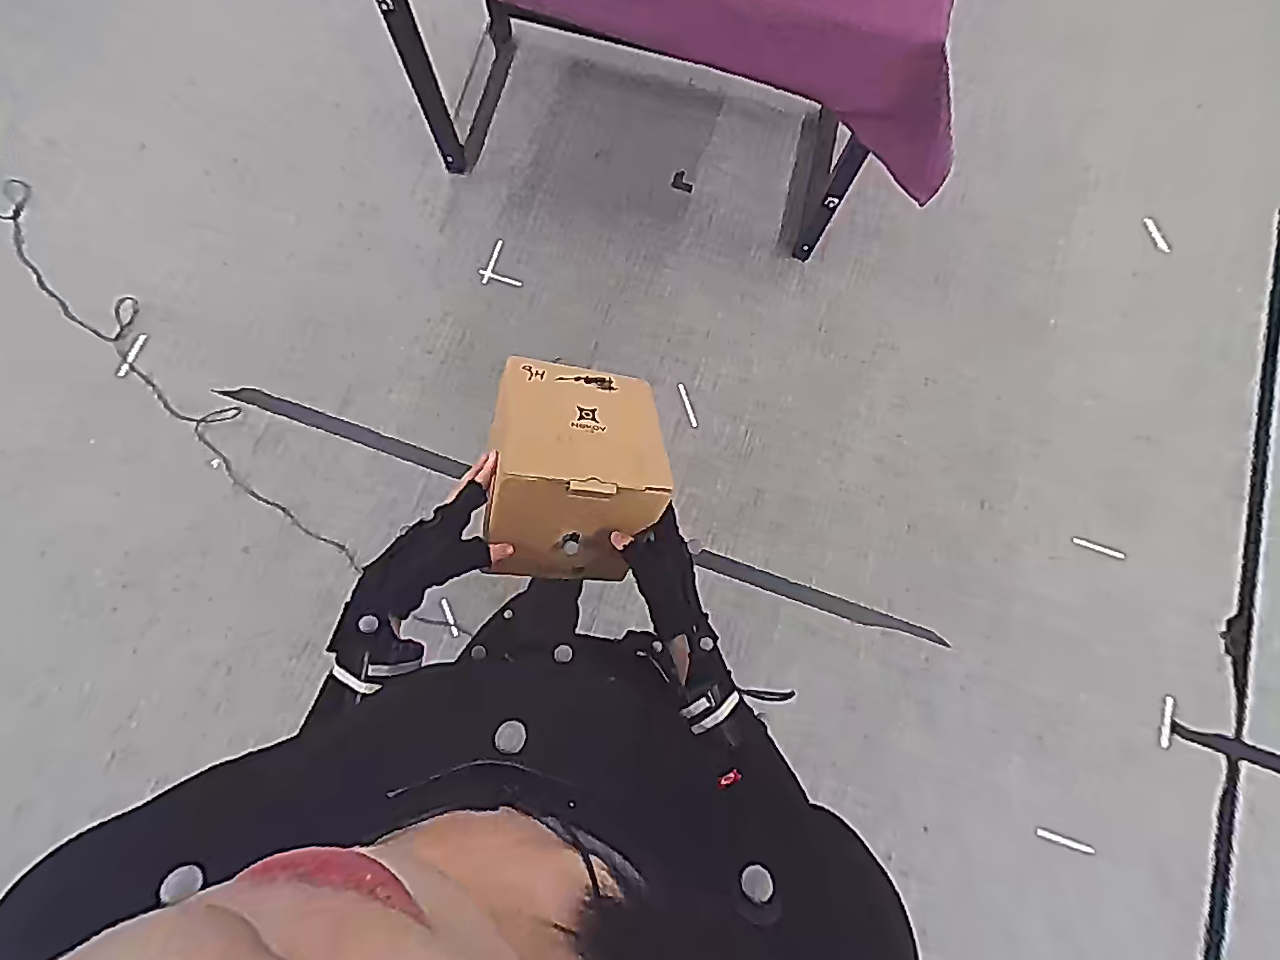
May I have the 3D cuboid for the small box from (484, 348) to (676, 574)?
[{"bbox_3d":[-0.076,-0.013,0.596,0.168,0.176,0.179,8,47,-19],"label":"small box"}]
